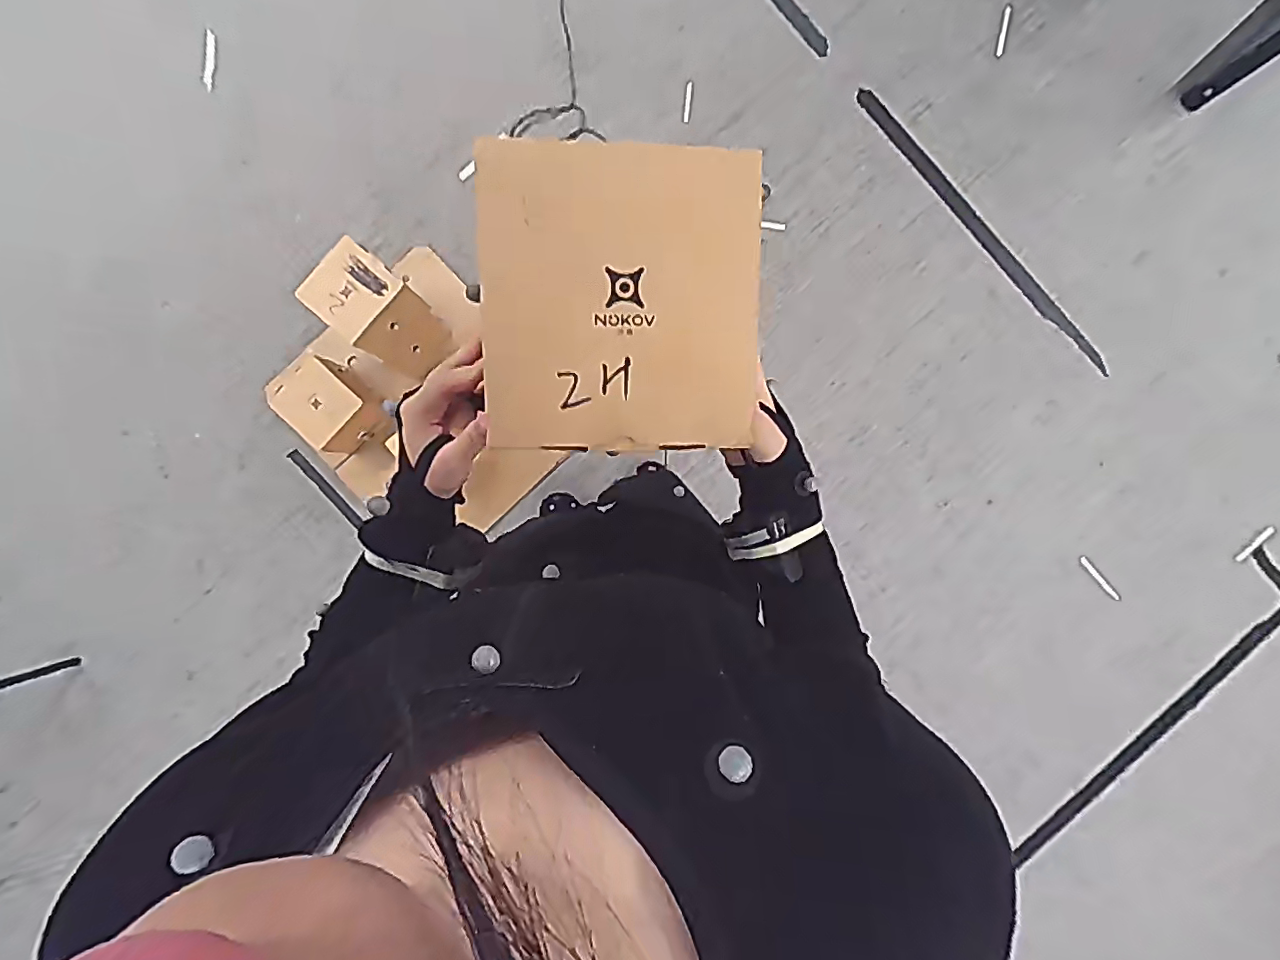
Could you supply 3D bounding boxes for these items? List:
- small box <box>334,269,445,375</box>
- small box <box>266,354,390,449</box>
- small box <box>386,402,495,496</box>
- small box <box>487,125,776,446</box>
[{"bbox_3d":[-0.627,-0.395,1.385,0.168,0.176,0.179,43,89,-1],"label":"small box"},{"bbox_3d":[-0.785,-0.190,1.381,0.179,0.176,0.168,42,91,-1],"label":"small box"},{"bbox_3d":[-0.502,-0.074,1.385,0.168,0.176,0.179,-39,92,-1],"label":"small box"},{"bbox_3d":[-0.013,-0.118,0.390,0.168,0.176,0.179,-1,100,-6],"label":"small box"}]
